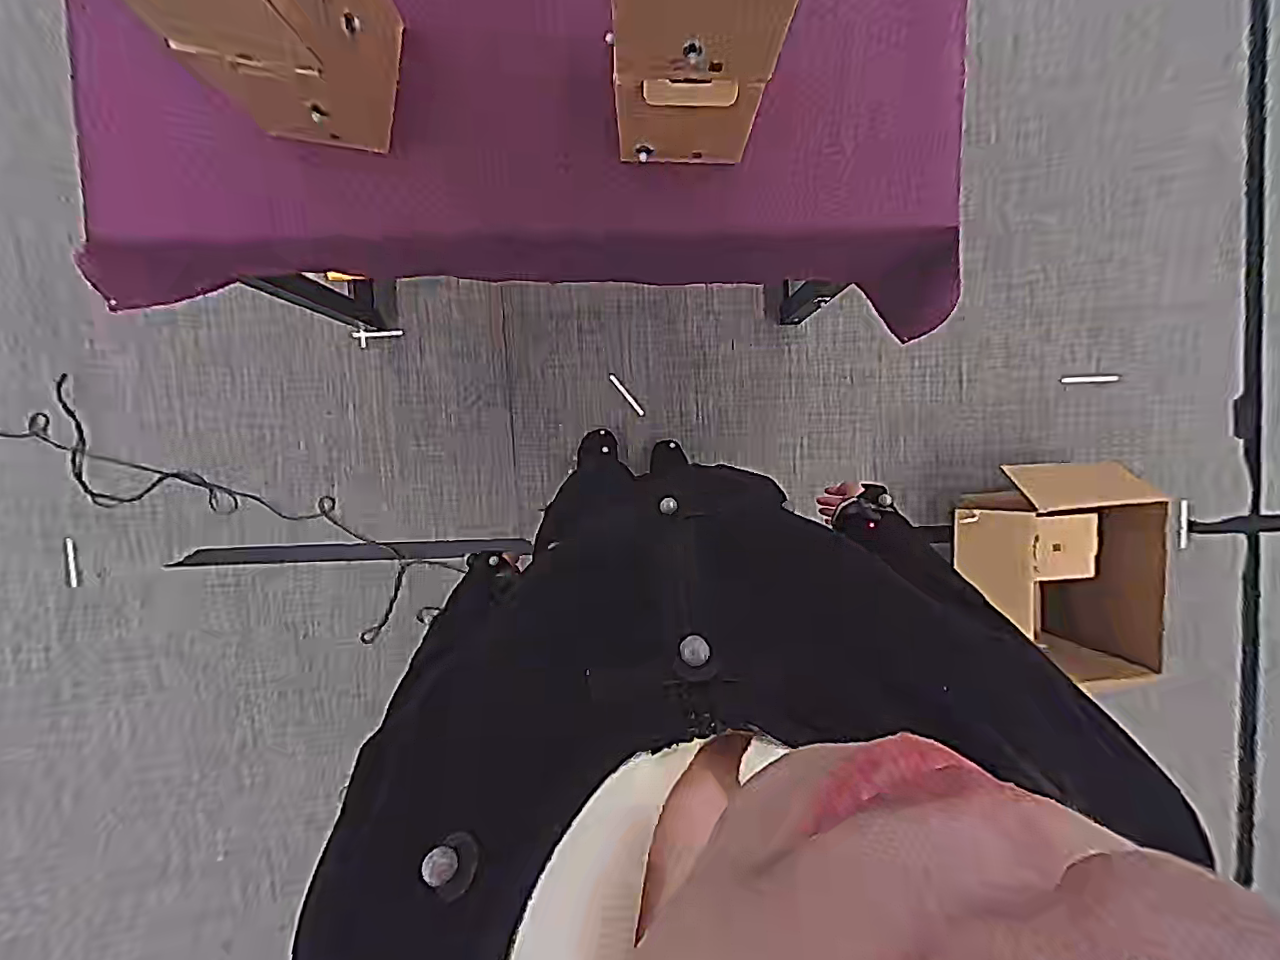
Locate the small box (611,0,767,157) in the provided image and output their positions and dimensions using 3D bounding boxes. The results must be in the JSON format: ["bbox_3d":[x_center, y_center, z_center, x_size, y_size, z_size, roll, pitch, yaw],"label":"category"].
[{"bbox_3d":[0.054,-0.518,0.652,0.168,0.176,0.179,1,93,0],"label":"small box"}]

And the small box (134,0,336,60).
[{"bbox_3d":[-0.404,-0.528,0.488,0.179,0.176,0.168,10,95,-2],"label":"small box"}]

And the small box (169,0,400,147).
[{"bbox_3d":[-0.410,-0.540,0.652,0.168,0.176,0.179,9,94,-2],"label":"small box"}]
